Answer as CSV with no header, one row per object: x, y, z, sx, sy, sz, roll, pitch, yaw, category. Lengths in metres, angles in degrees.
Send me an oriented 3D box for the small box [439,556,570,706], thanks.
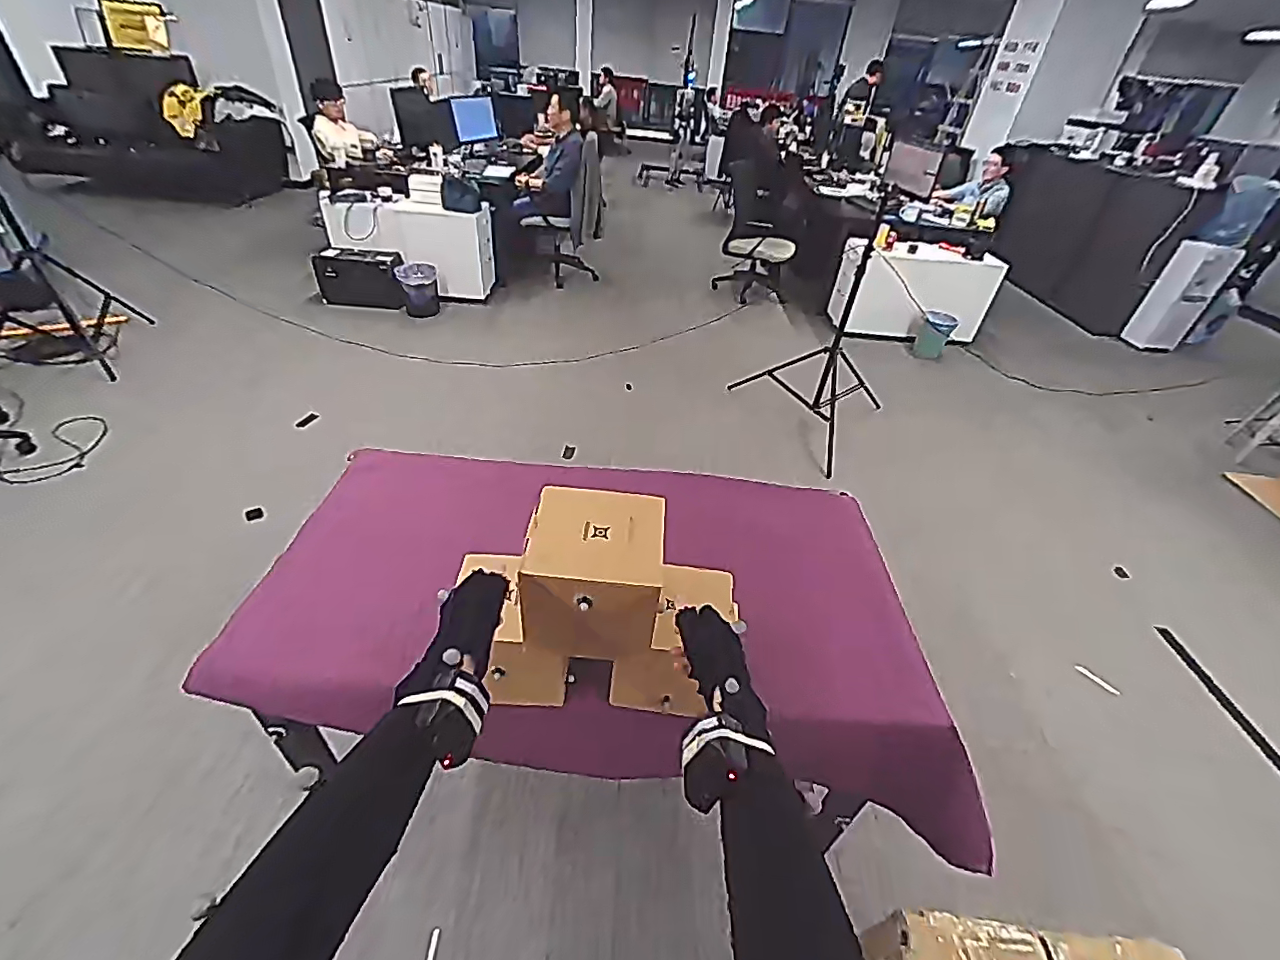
-0.198,0.242,0.863,0.179,0.176,0.168,3,37,-2,small box

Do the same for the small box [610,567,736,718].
0.051,0.261,0.876,0.179,0.176,0.168,7,37,2,small box

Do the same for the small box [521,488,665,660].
-0.061,0.133,0.758,0.179,0.176,0.168,6,39,-2,small box
